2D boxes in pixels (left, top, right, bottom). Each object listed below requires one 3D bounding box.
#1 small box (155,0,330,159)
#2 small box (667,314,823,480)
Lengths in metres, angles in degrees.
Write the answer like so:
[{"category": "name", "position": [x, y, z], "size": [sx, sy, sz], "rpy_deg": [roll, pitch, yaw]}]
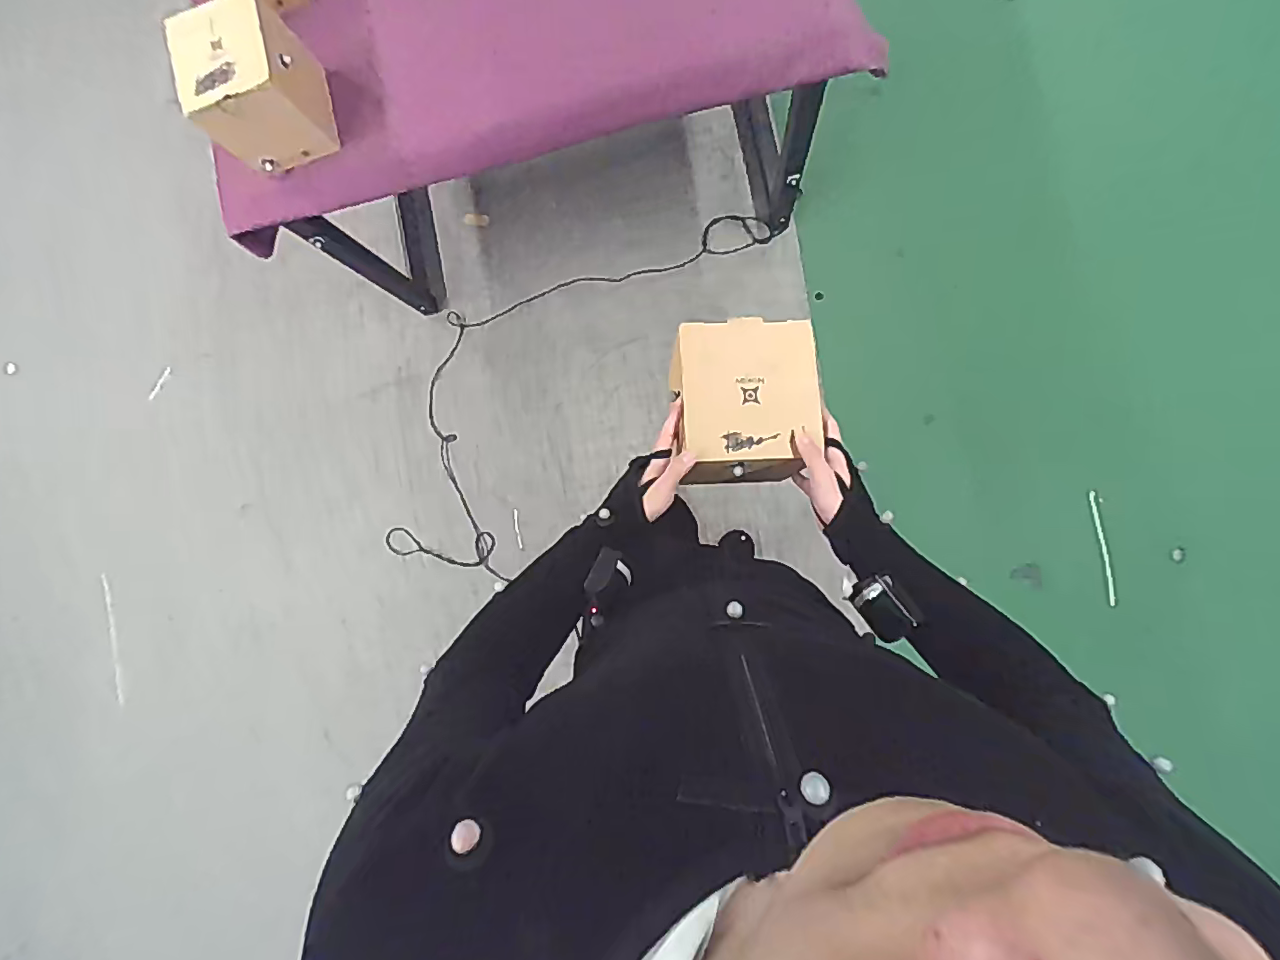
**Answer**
[{"category": "small box", "position": [-0.670, -0.693, 0.932], "size": [0.168, 0.176, 0.179], "rpy_deg": [-14, 85, 6]}, {"category": "small box", "position": [0.127, -0.101, 0.719], "size": [0.168, 0.176, 0.179], "rpy_deg": [-2, 81, -2]}]
